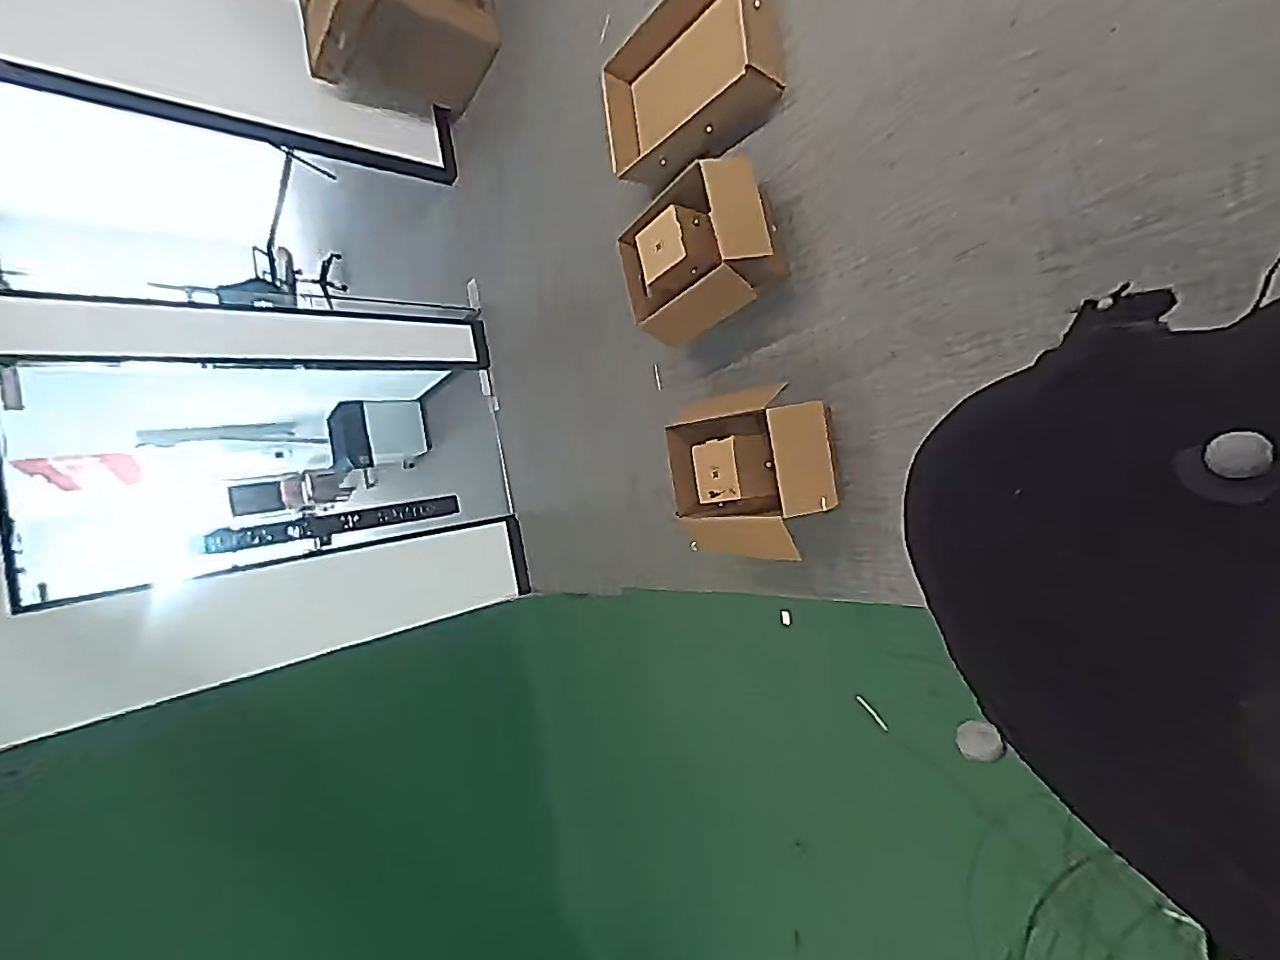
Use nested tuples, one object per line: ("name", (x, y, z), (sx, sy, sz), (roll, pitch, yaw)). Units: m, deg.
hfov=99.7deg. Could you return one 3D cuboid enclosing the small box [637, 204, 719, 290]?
("small box", (0.122, -0.704, 1.653), (0.179, 0.176, 0.168), (-19, 81, 48))
